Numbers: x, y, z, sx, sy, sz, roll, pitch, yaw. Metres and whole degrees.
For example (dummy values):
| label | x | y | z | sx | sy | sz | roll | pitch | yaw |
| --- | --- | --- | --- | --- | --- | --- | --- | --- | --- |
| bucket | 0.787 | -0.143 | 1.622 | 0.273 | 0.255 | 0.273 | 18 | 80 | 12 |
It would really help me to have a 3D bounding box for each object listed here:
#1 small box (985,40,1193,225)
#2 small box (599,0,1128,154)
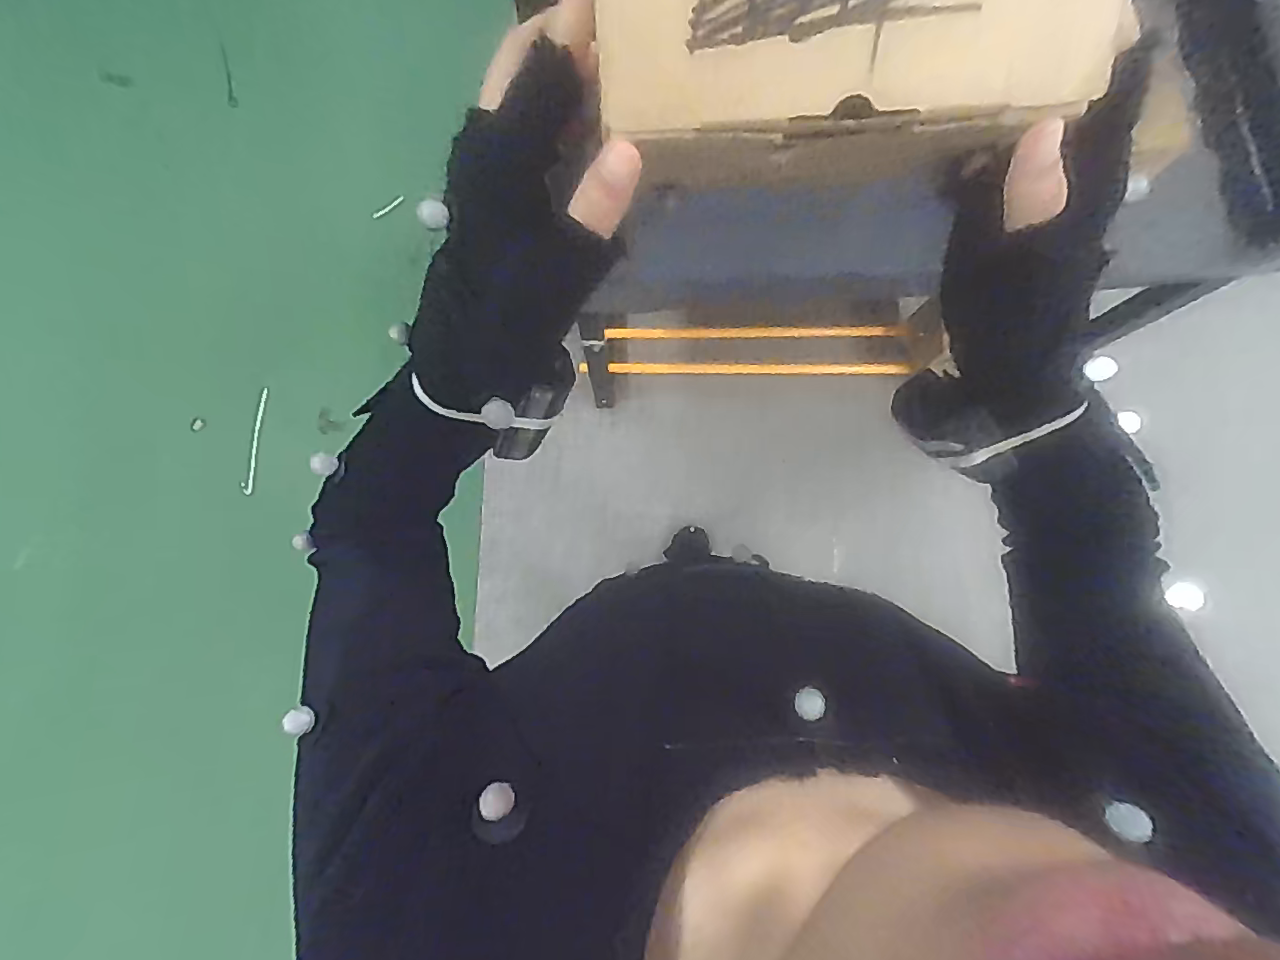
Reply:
| label | x | y | z | sx | sy | sz | roll | pitch | yaw |
| --- | --- | --- | --- | --- | --- | --- | --- | --- | --- |
| small box | 0.664 | -0.522 | 0.826 | 0.168 | 0.176 | 0.179 | -1 | 77 | 0 |
| small box | 0.064 | -0.241 | 0.214 | 0.168 | 0.176 | 0.179 | -4 | 112 | -1 |
